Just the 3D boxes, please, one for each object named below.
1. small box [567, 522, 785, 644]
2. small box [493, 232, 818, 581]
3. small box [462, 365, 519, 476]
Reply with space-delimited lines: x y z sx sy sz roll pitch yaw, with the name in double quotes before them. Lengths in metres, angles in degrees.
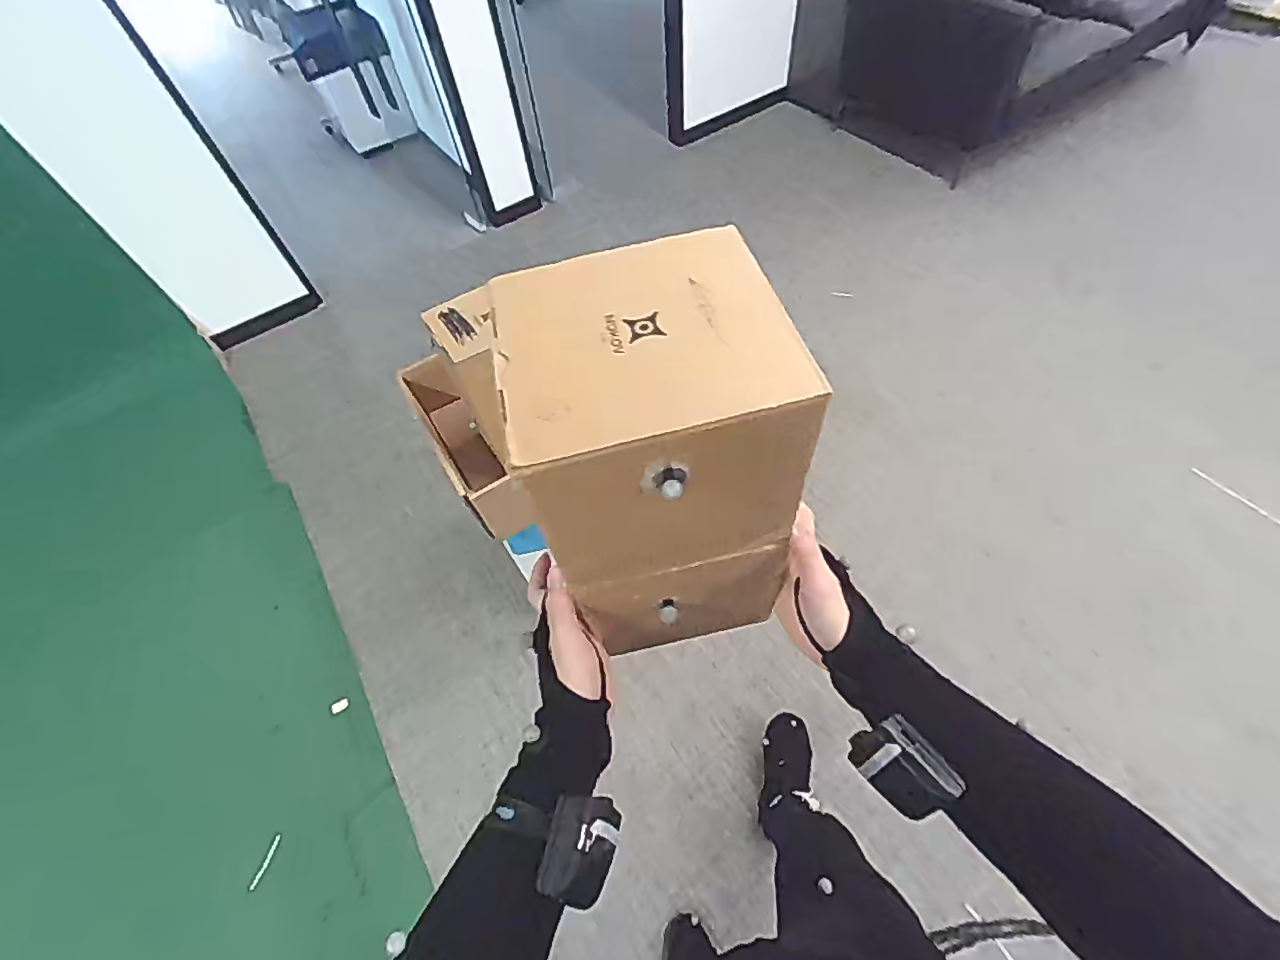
"small box" 0.026 0.045 0.528 0.179 0.176 0.168 -11 54 -1
"small box" 0.007 -0.044 0.395 0.179 0.176 0.168 -13 56 -1
"small box" -0.243 -0.140 1.145 0.179 0.176 0.168 -31 58 -15
